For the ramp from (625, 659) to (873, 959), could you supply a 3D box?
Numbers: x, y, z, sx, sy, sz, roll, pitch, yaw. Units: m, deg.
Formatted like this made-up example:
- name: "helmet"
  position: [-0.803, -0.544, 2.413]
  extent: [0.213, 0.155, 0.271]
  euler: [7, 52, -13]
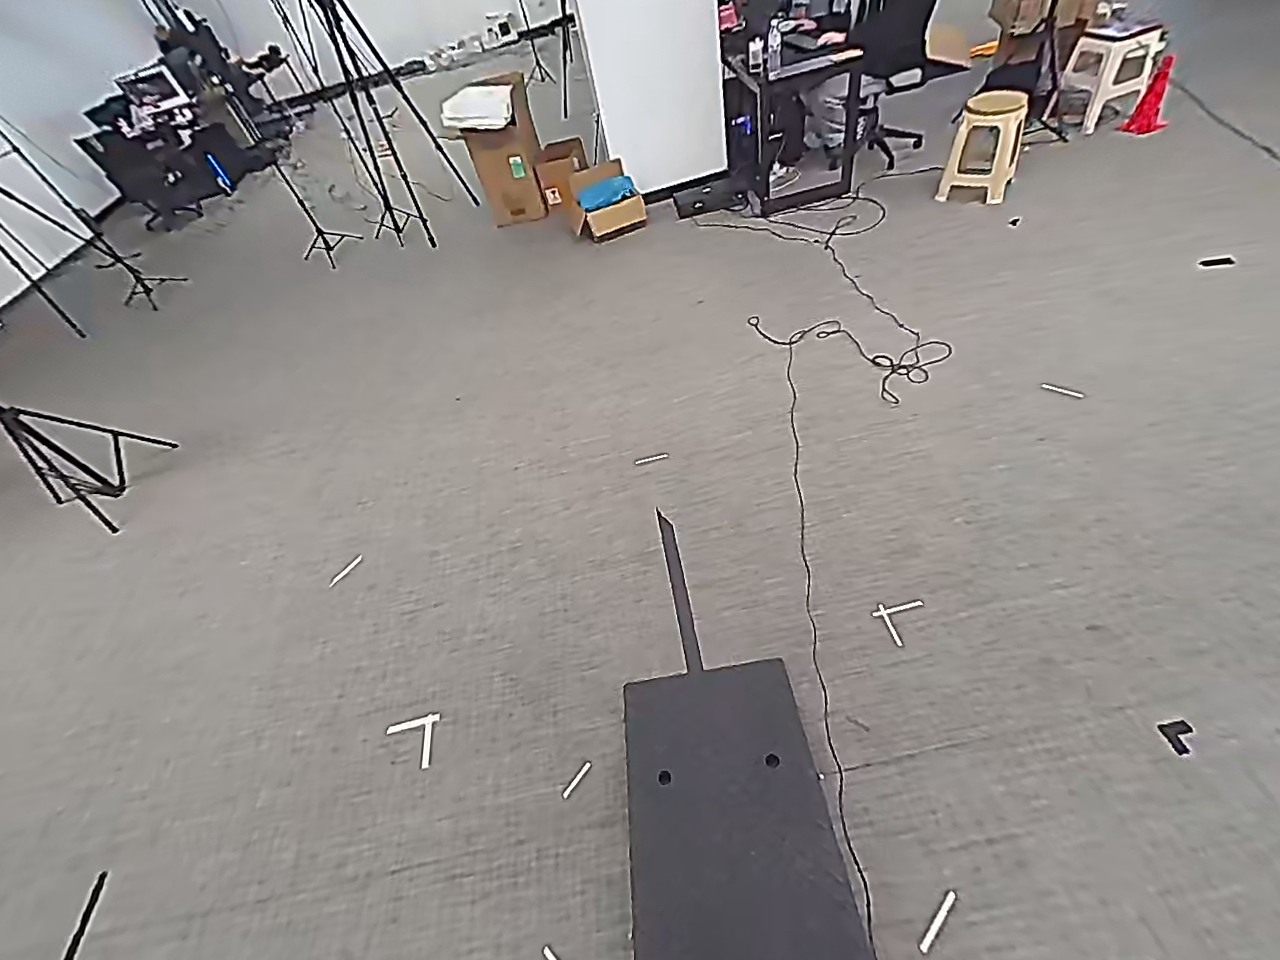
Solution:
- name: "ramp"
  position: [0.215, 0.890, 1.247]
  extent: [0.509, 0.206, 0.991]
  euler: [-14, 47, 4]
